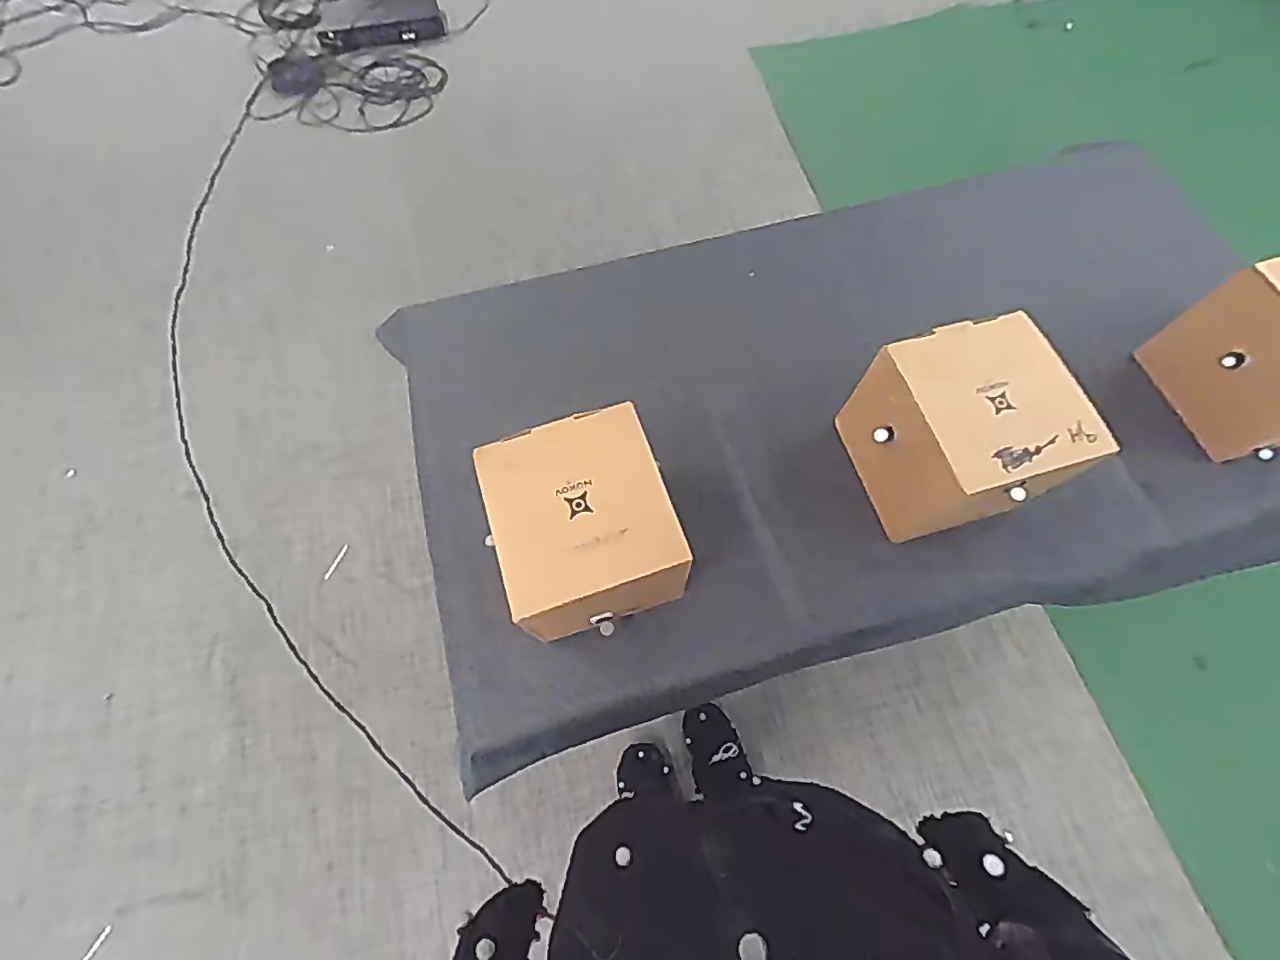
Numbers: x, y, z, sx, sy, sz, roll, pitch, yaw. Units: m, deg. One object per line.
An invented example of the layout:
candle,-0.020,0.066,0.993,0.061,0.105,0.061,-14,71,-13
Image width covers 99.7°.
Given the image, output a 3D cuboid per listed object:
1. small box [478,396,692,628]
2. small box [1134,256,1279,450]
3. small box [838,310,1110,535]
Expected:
small box,-0.055,0.043,0.581,0.168,0.176,0.179,-18,69,-6
small box,0.770,-0.150,0.644,0.168,0.176,0.179,-14,67,-4
small box,0.353,-0.058,0.617,0.168,0.176,0.179,-15,68,-4
